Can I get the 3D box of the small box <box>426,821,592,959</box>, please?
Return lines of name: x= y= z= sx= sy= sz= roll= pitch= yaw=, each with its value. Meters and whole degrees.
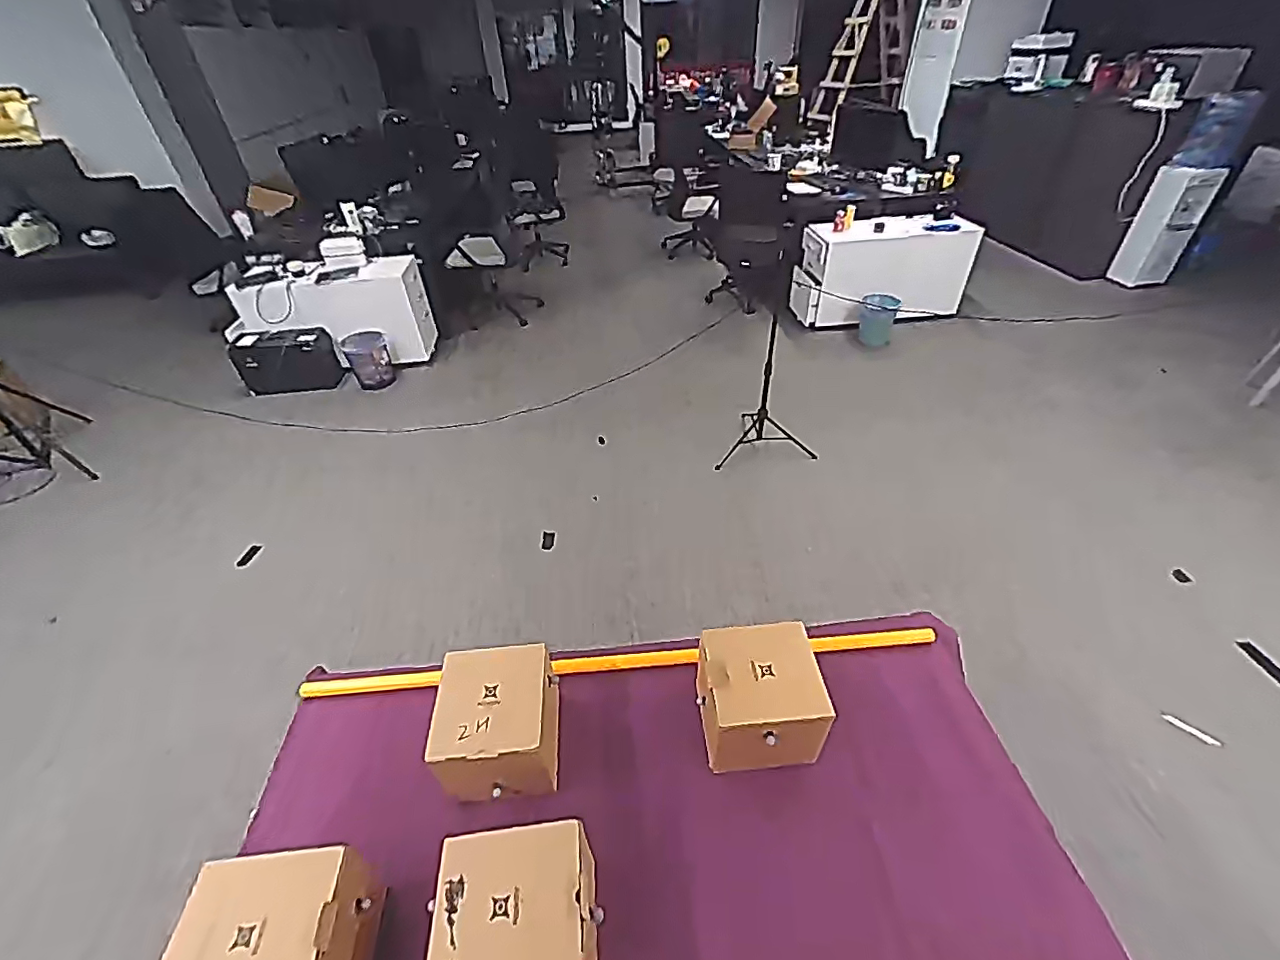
small box: x=-0.151 y=0.557 z=0.680 sx=0.179 sy=0.176 sz=0.168 roll=-5 pitch=40 yaw=-3

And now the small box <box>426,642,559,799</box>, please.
small box: x=-0.227 y=0.391 z=0.883 sx=0.168 sy=0.176 sz=0.179 roll=-5 pitch=42 yaw=-2

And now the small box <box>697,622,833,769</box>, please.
small box: x=0.194 y=0.358 z=0.898 sx=0.179 sy=0.176 sz=0.168 roll=-5 pitch=41 yaw=-1

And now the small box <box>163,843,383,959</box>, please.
small box: x=-0.446 y=0.578 z=0.671 sx=0.179 sy=0.176 sz=0.168 roll=-4 pitch=39 yaw=-4
